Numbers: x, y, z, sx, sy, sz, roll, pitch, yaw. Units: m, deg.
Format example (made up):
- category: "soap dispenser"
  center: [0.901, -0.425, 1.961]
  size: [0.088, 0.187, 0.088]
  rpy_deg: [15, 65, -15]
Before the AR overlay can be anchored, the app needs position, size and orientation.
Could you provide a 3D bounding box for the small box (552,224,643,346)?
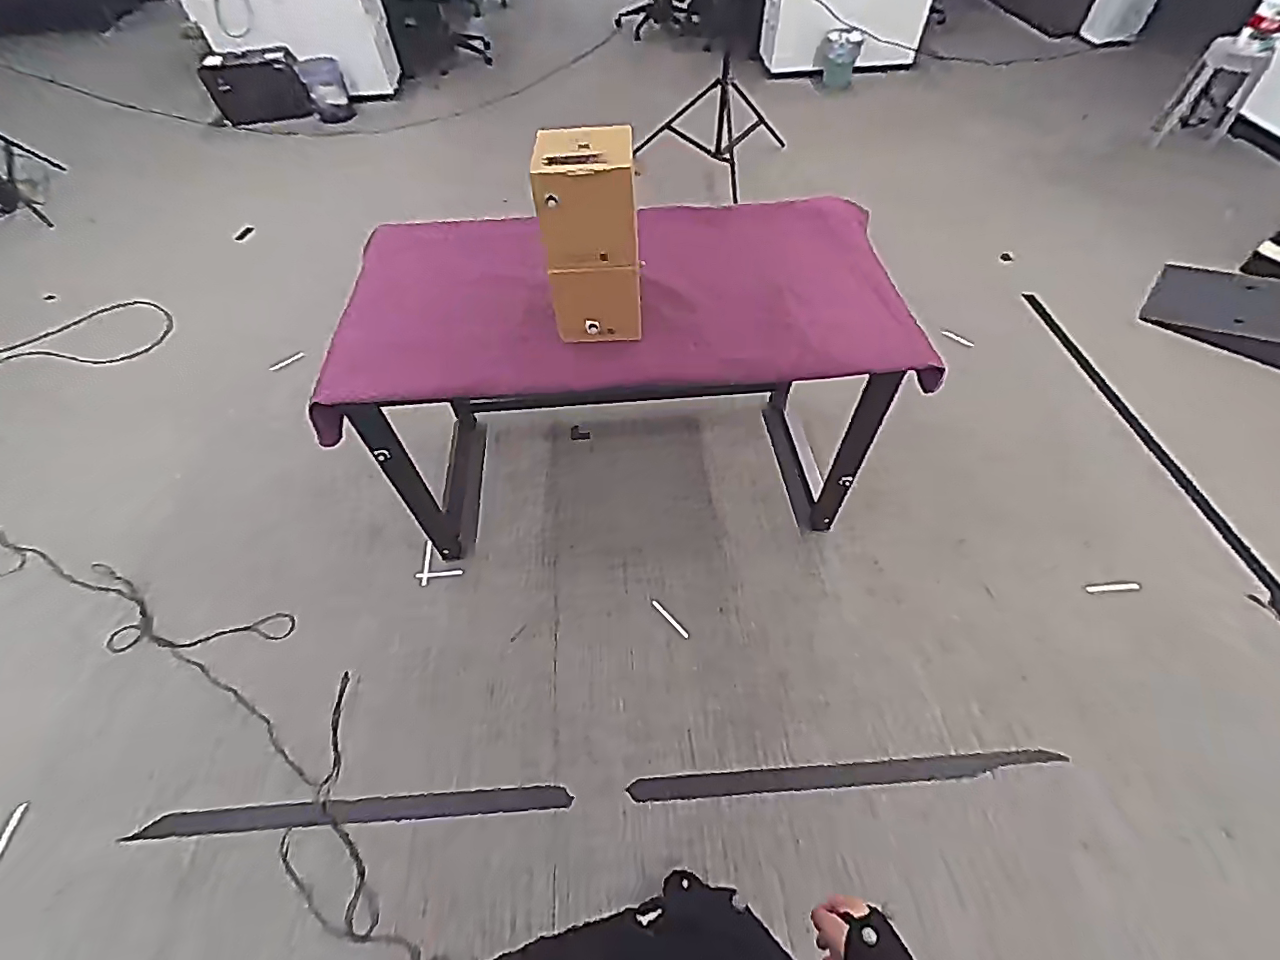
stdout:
- category: "small box"
  center: [-0.080, -0.394, 1.098]
  size: [0.168, 0.176, 0.179]
  rpy_deg: [-3, 54, 1]
